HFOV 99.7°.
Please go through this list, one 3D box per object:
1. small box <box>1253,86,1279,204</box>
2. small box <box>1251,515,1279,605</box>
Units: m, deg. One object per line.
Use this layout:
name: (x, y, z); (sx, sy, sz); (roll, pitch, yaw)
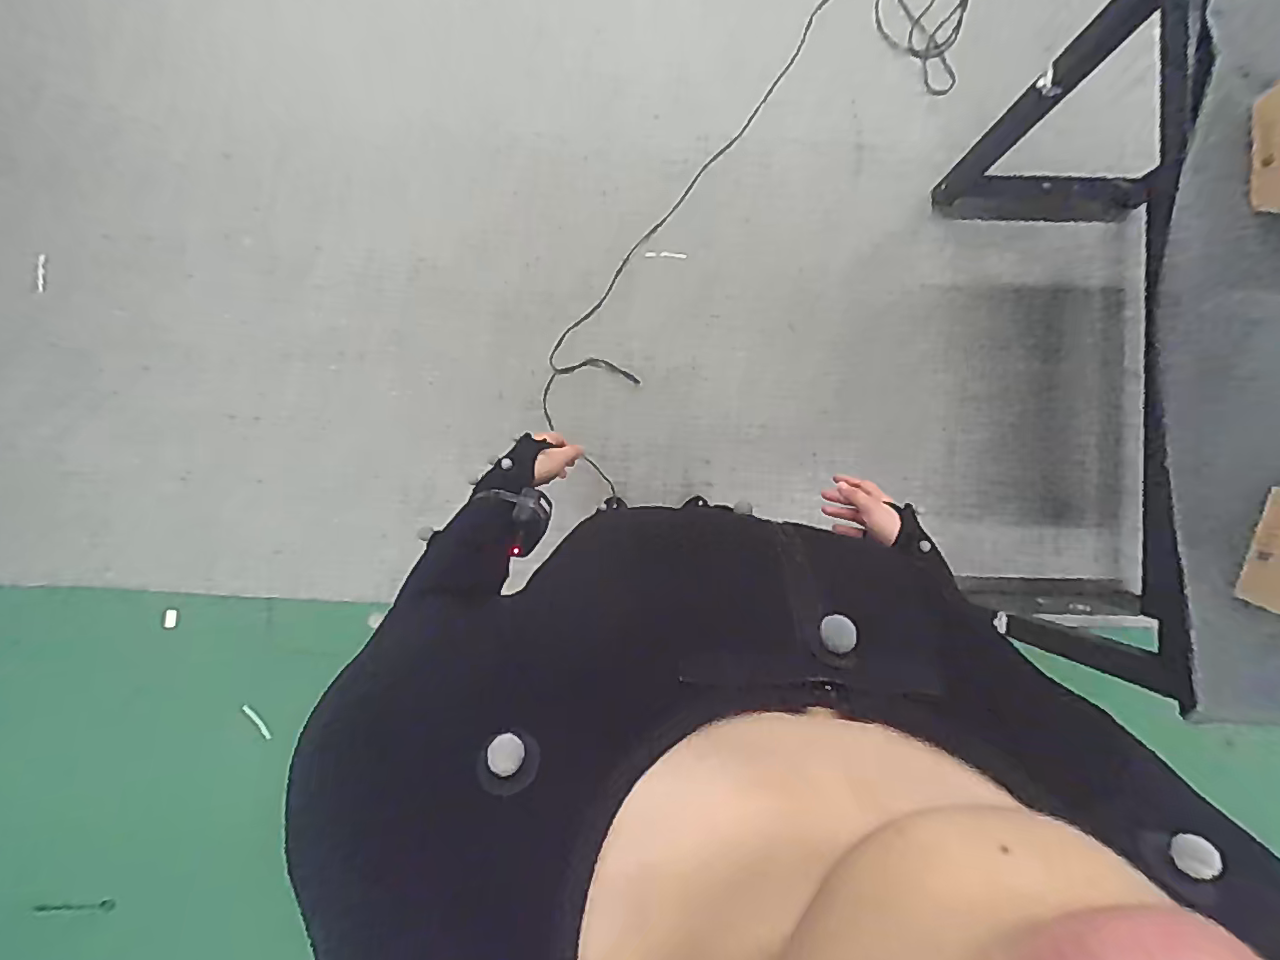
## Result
small box: (0.966, -0.473, 0.693); (0.179, 0.176, 0.168); (2, 88, -1)
small box: (0.943, 0.109, 0.668); (0.179, 0.176, 0.168); (22, 88, -1)
